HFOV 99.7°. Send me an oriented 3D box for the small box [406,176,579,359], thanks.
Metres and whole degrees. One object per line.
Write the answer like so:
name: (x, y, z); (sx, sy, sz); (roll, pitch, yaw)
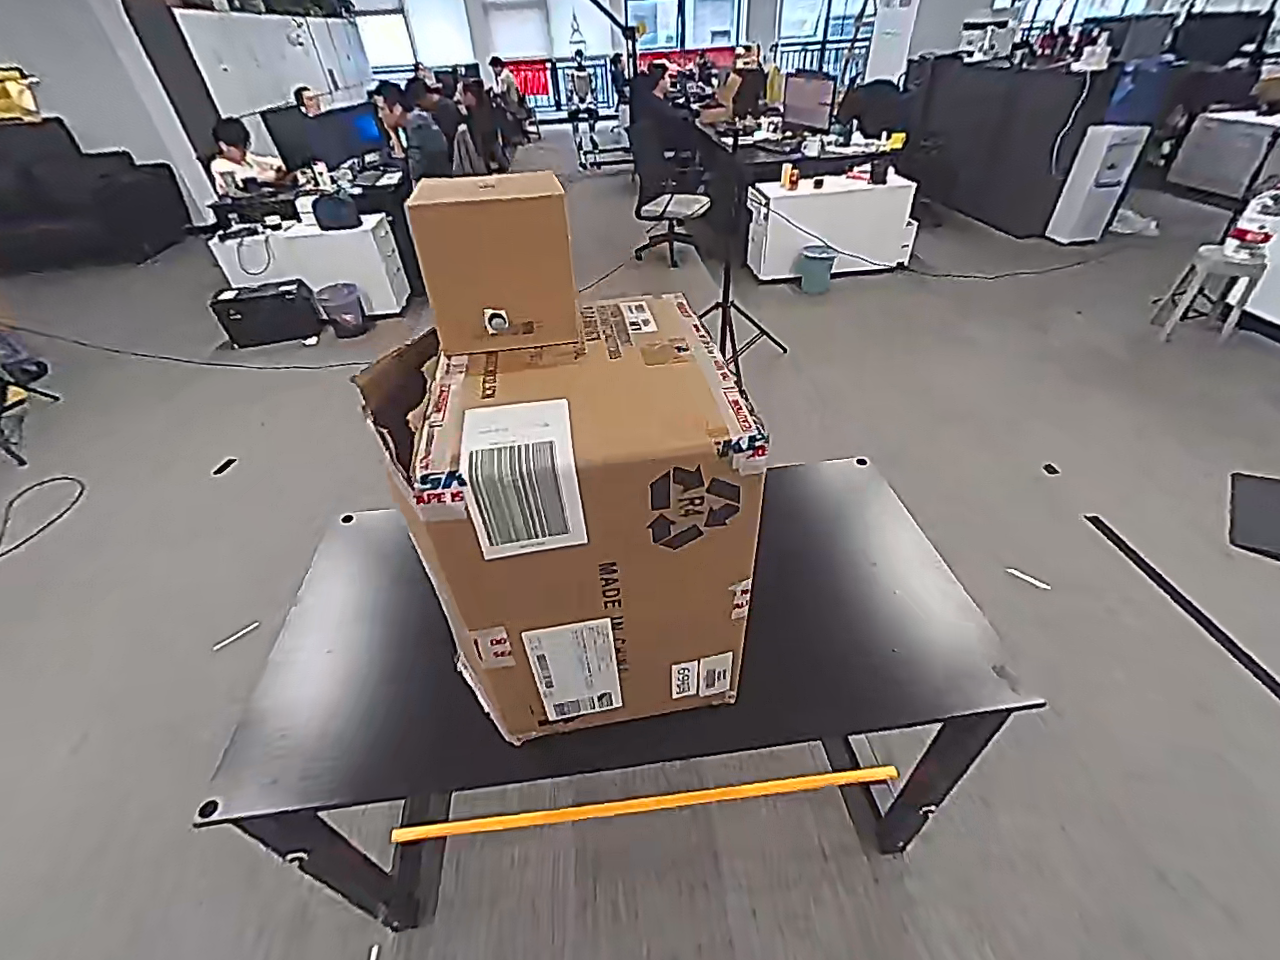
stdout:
small box: (-0.175, -0.268, 0.675); (0.168, 0.176, 0.179); (-10, 39, -9)
